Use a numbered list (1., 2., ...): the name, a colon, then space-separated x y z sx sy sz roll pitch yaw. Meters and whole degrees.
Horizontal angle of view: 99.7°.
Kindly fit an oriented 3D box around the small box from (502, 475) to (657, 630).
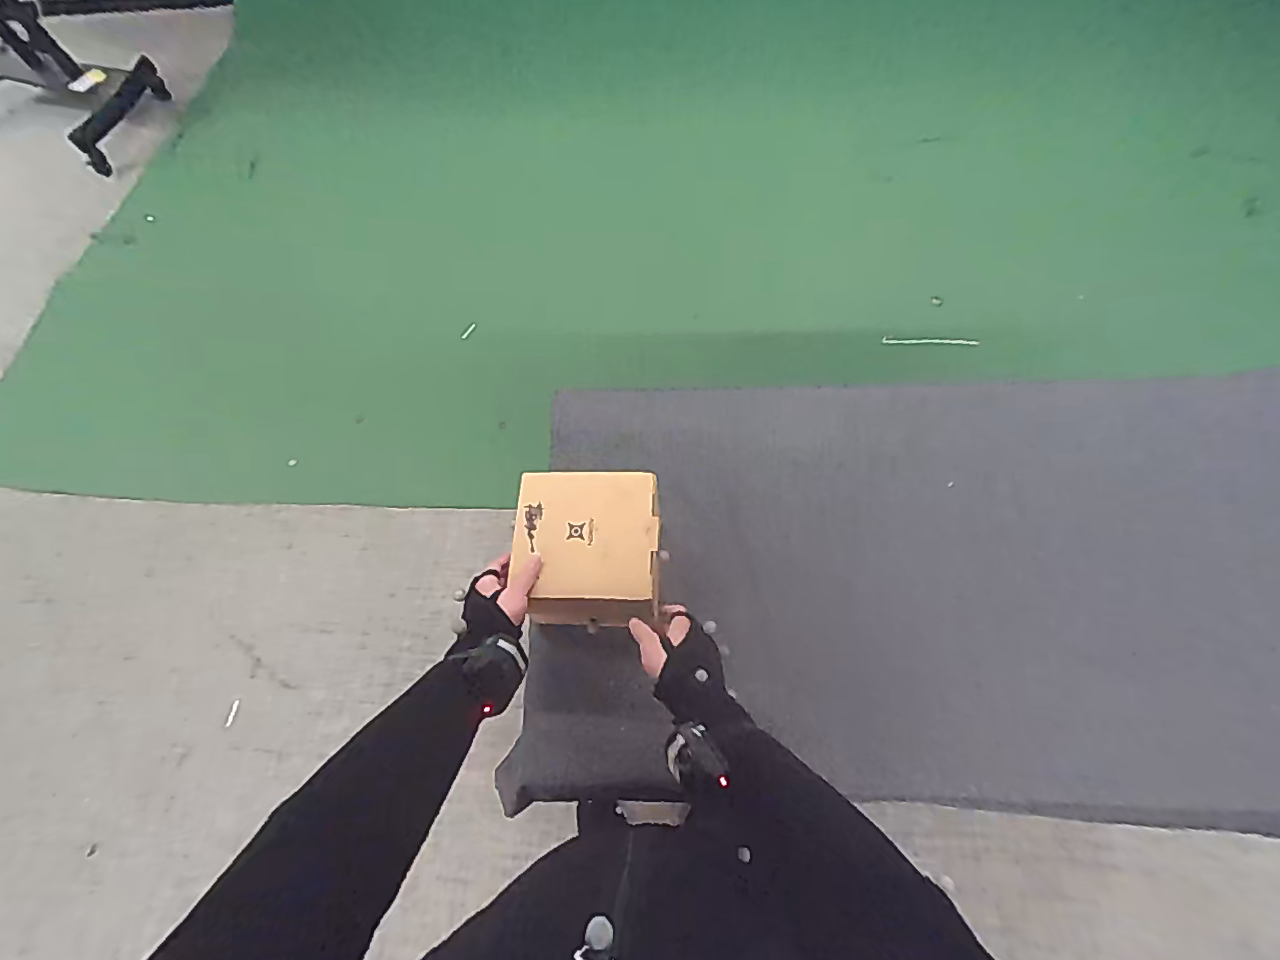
1. small box: -0.067 0.104 0.730 0.179 0.176 0.168 1 64 4
